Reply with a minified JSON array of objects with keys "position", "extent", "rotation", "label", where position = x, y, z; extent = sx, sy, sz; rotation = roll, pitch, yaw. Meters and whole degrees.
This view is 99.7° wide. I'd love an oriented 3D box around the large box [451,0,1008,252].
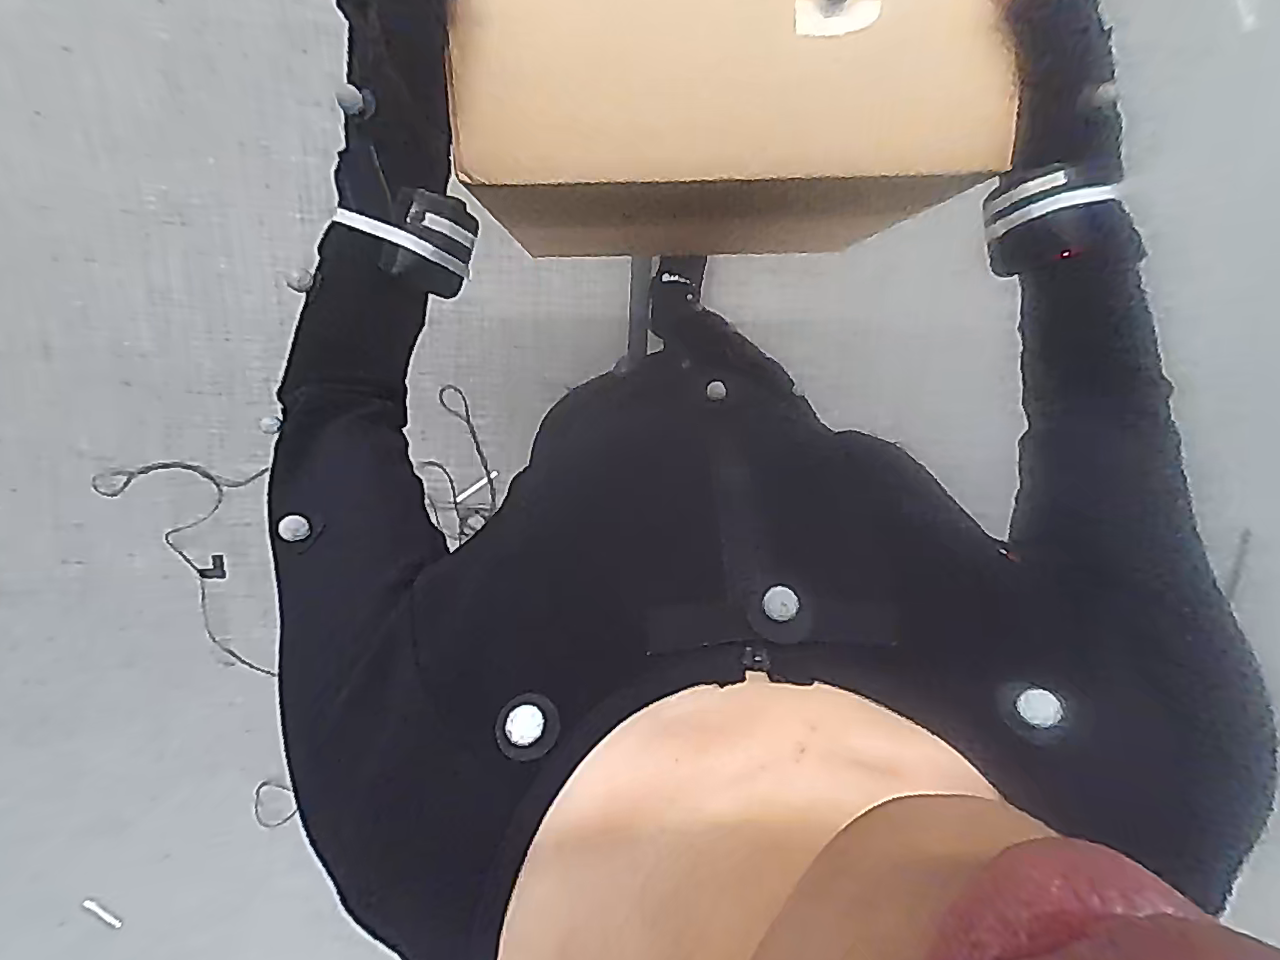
[{"position":[0.057,-0.417,0.516],"extent":[0.408,0.320,0.320],"rotation":[-2,103,-2],"label":"large box"}]
